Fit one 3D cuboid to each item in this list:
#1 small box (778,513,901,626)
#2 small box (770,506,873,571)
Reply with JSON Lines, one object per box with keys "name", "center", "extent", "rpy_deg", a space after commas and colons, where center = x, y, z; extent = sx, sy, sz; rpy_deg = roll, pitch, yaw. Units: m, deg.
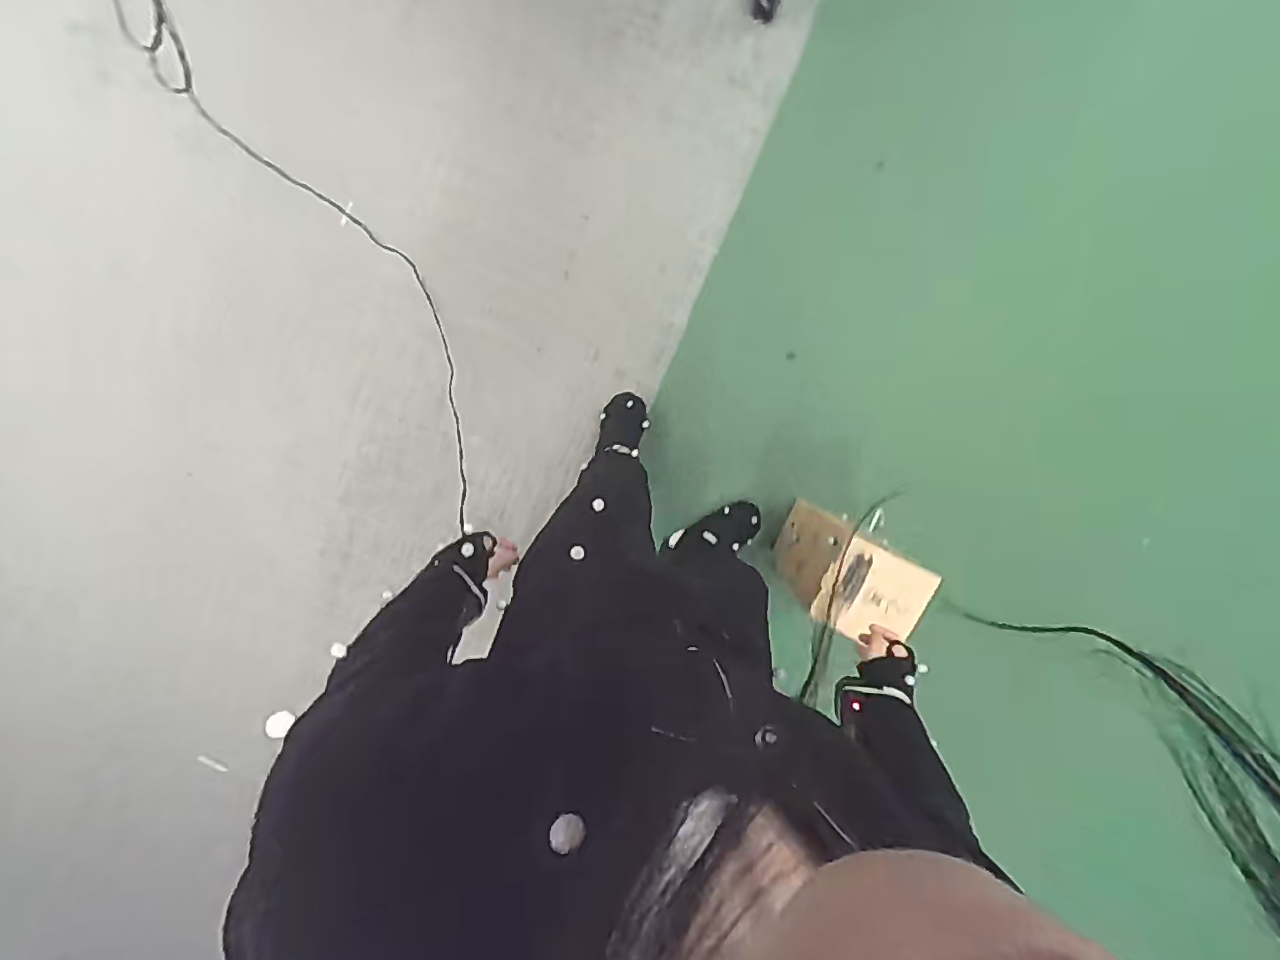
{"name": "small box", "center": [0.427, 0.186, 1.190], "extent": [0.179, 0.176, 0.168], "rpy_deg": [27, 97, 3]}
{"name": "small box", "center": [0.443, 0.173, 1.354], "extent": [0.179, 0.176, 0.168], "rpy_deg": [25, 97, 3]}
